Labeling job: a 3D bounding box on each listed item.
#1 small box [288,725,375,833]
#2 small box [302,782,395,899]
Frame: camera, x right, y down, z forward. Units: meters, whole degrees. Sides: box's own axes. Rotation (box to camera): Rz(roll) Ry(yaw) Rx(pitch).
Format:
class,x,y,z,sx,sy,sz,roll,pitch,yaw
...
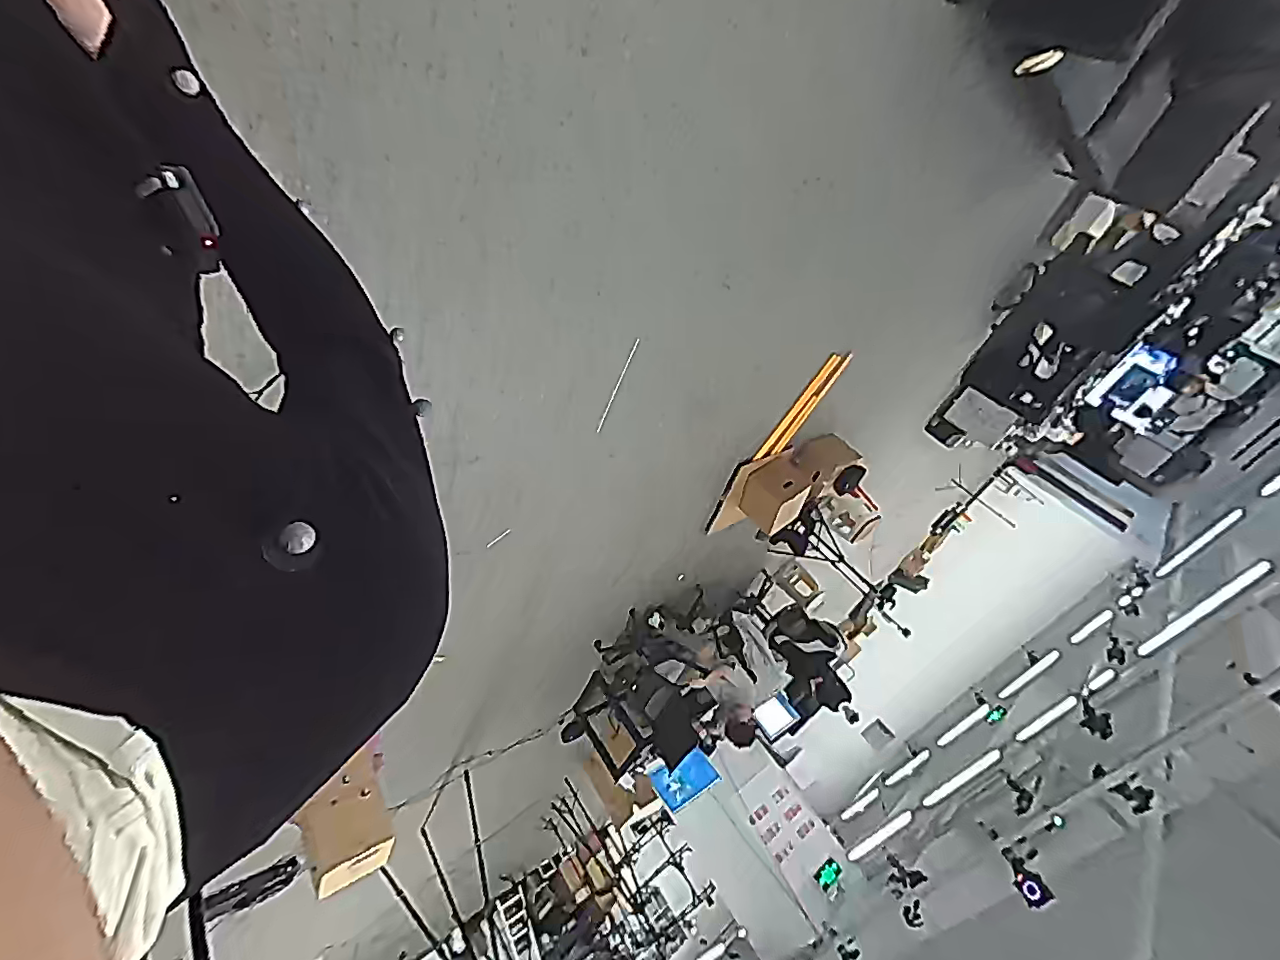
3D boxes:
class,x,y,z,sx,sy,sz,roll,pitch,yaw
small box,-0.848,0.809,1.477,0.168,0.176,0.179,-8,136,-43
small box,-0.755,0.914,1.390,0.168,0.176,0.179,-7,136,-43
